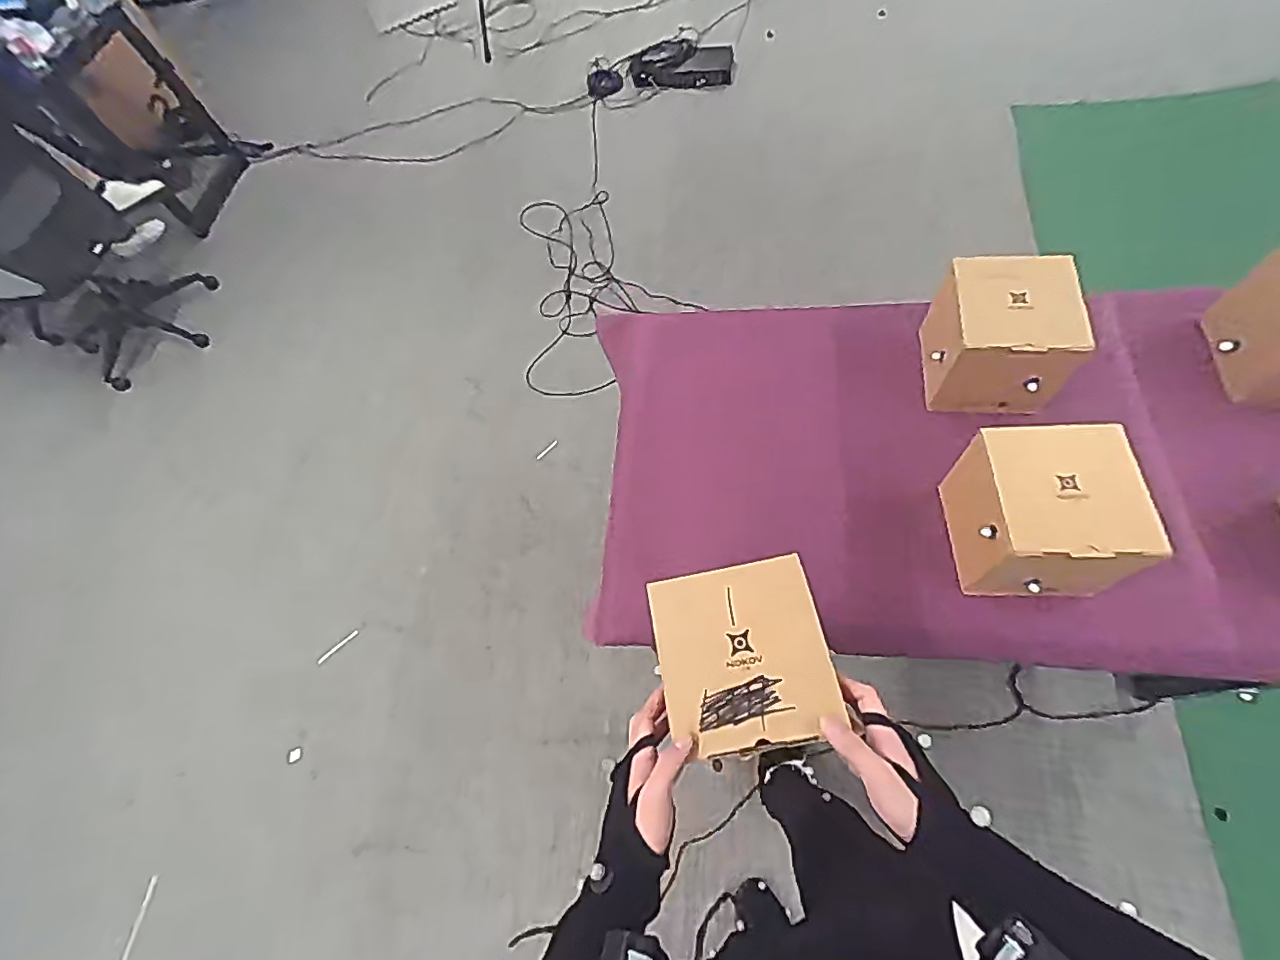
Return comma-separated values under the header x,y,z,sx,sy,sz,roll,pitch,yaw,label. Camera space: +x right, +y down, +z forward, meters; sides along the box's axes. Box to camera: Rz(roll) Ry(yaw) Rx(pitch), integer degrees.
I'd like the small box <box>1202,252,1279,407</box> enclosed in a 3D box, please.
x,y,z,sx,sy,sz,roll,pitch,yaw,label
0.980,-0.212,0.774,0.168,0.176,0.179,2,67,11,small box

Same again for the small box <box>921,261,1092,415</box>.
x,y,z,sx,sy,sz,roll,pitch,yaw,label
0.561,-0.218,0.854,0.168,0.176,0.179,4,65,11,small box

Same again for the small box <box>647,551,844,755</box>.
x,y,z,sx,sy,sz,roll,pitch,yaw,label
0.112,0.201,0.608,0.168,0.176,0.179,-12,61,4,small box

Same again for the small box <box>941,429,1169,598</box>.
x,y,z,sx,sy,sz,roll,pitch,yaw,label
0.530,0.049,0.726,0.168,0.176,0.179,-1,63,9,small box
